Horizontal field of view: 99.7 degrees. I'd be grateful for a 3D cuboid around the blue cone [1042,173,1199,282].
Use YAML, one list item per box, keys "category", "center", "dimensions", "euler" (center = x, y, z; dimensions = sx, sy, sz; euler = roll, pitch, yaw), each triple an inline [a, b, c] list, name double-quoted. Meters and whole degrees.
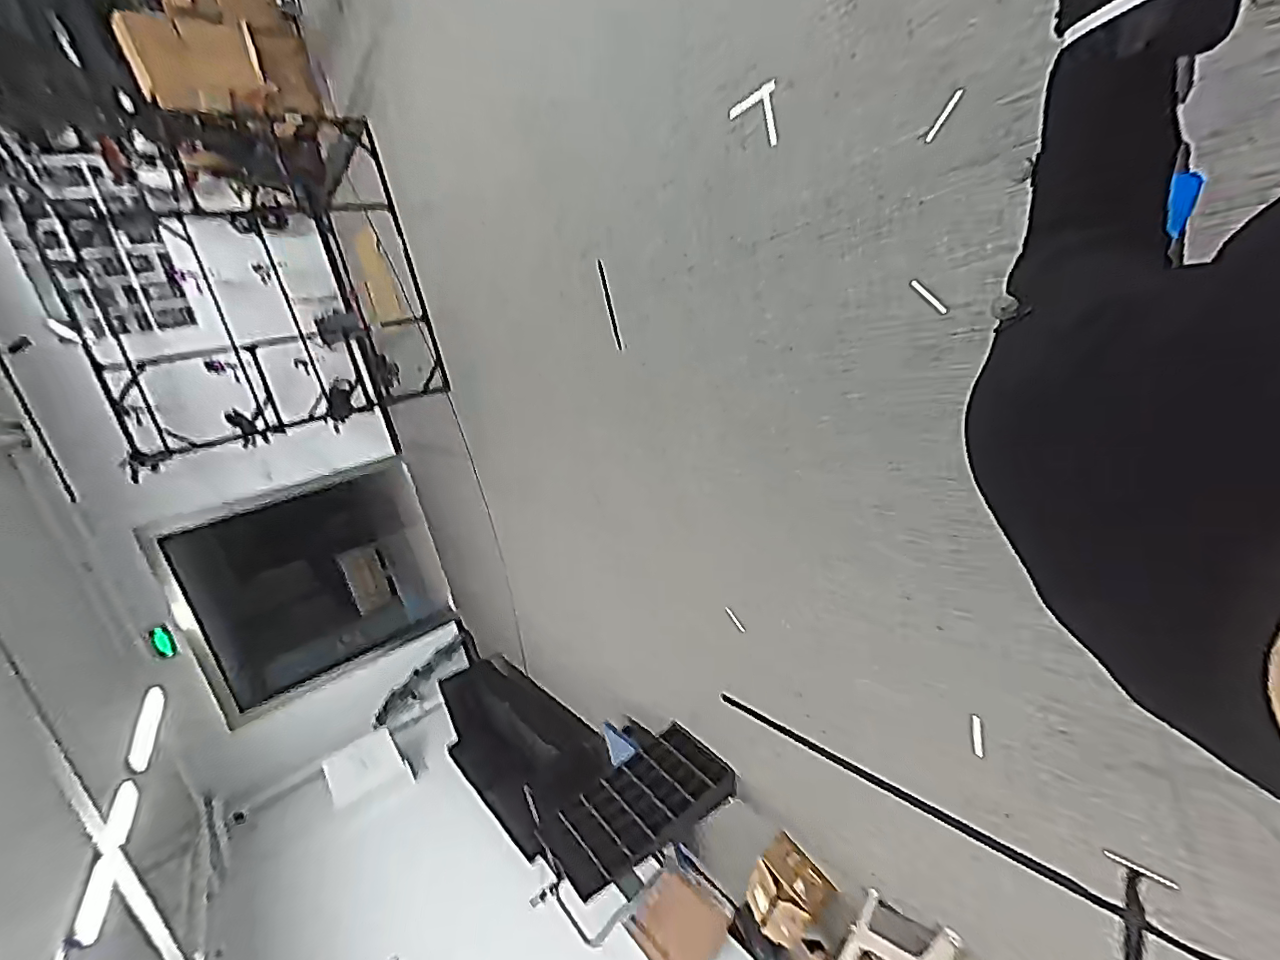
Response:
- category: "blue cone"
  center: [0.837, -0.453, 0.997]
  dimensions: [0.193, 0.380, 0.192]
  euler: [34, 135, 41]
